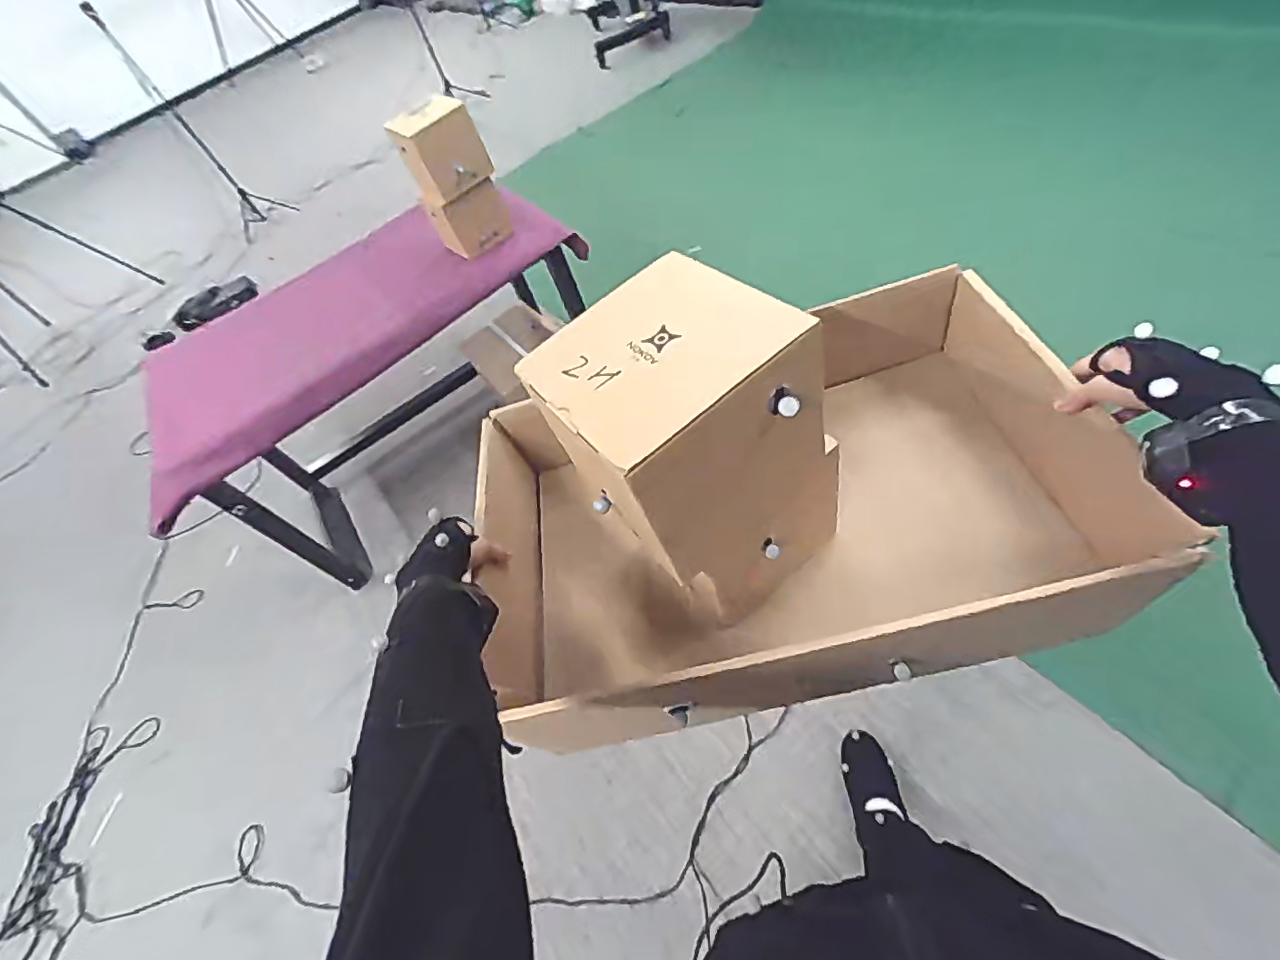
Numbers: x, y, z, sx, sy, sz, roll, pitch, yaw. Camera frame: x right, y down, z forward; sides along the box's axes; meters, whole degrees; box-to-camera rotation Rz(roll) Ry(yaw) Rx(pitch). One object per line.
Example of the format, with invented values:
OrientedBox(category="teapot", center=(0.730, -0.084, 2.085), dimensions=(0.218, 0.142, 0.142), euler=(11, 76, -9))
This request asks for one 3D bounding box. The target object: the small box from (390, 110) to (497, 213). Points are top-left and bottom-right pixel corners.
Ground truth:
OrientedBox(category="small box", center=(-0.506, -0.824, 1.403), dimensions=(0.168, 0.176, 0.179), euler=(-41, 52, -11))

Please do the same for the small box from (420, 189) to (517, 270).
OrientedBox(category="small box", center=(-0.482, -0.726, 1.534), dimensions=(0.168, 0.176, 0.179), euler=(-41, 52, -12))

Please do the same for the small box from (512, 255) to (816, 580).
OrientedBox(category="small box", center=(0.030, -0.051, 0.462), dimensions=(0.179, 0.176, 0.168), euler=(-39, 50, -10))
